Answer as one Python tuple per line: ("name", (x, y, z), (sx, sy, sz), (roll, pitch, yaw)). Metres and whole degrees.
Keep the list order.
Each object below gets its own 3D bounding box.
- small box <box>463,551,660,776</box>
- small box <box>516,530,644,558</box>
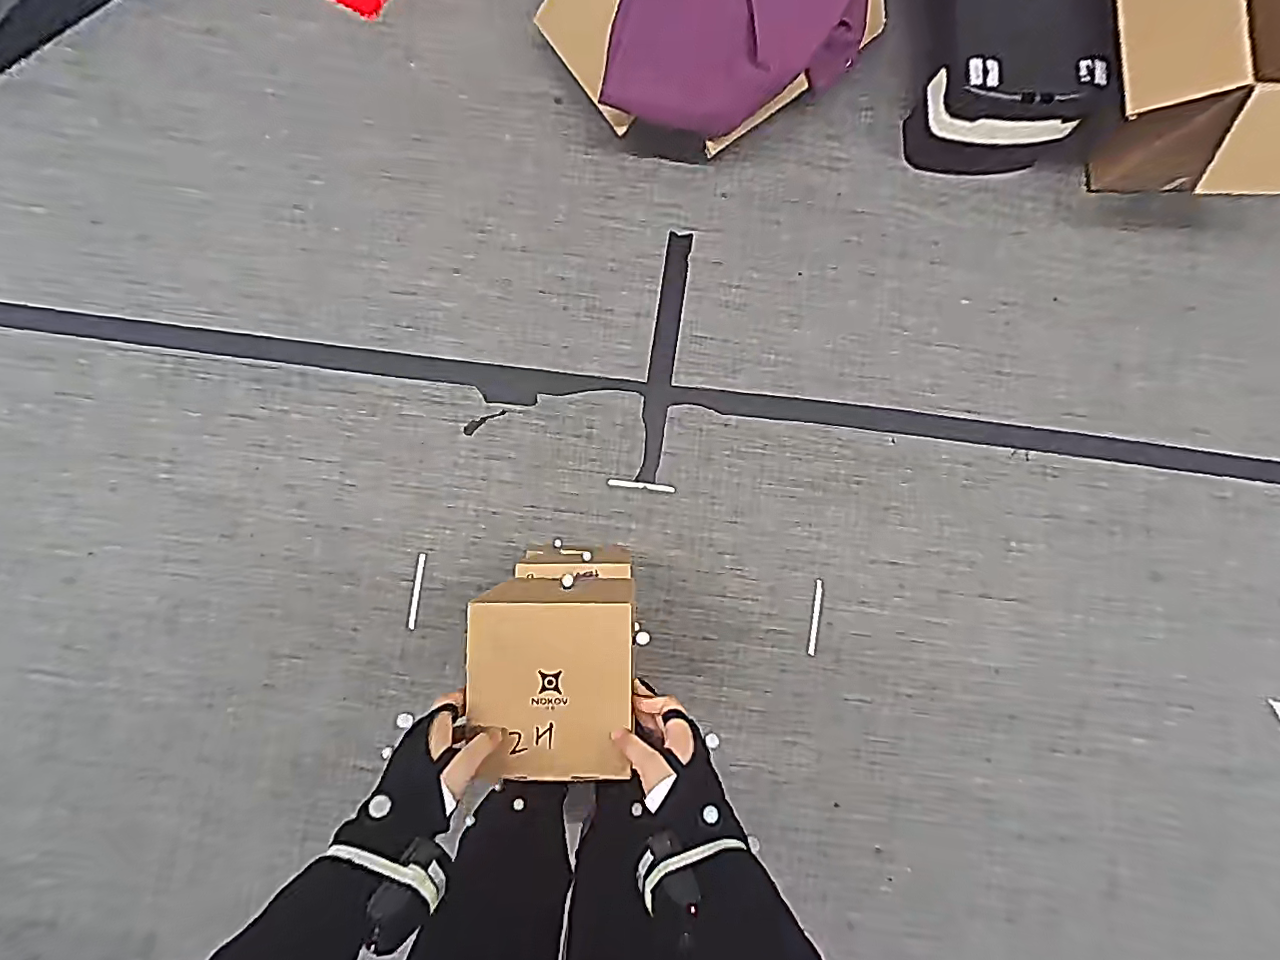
("small box", (-0.067, 0.165, 0.540), (0.168, 0.176, 0.179), (1, 89, 0))
("small box", (-0.077, 0.165, 0.762), (0.168, 0.176, 0.179), (0, 88, -1))
